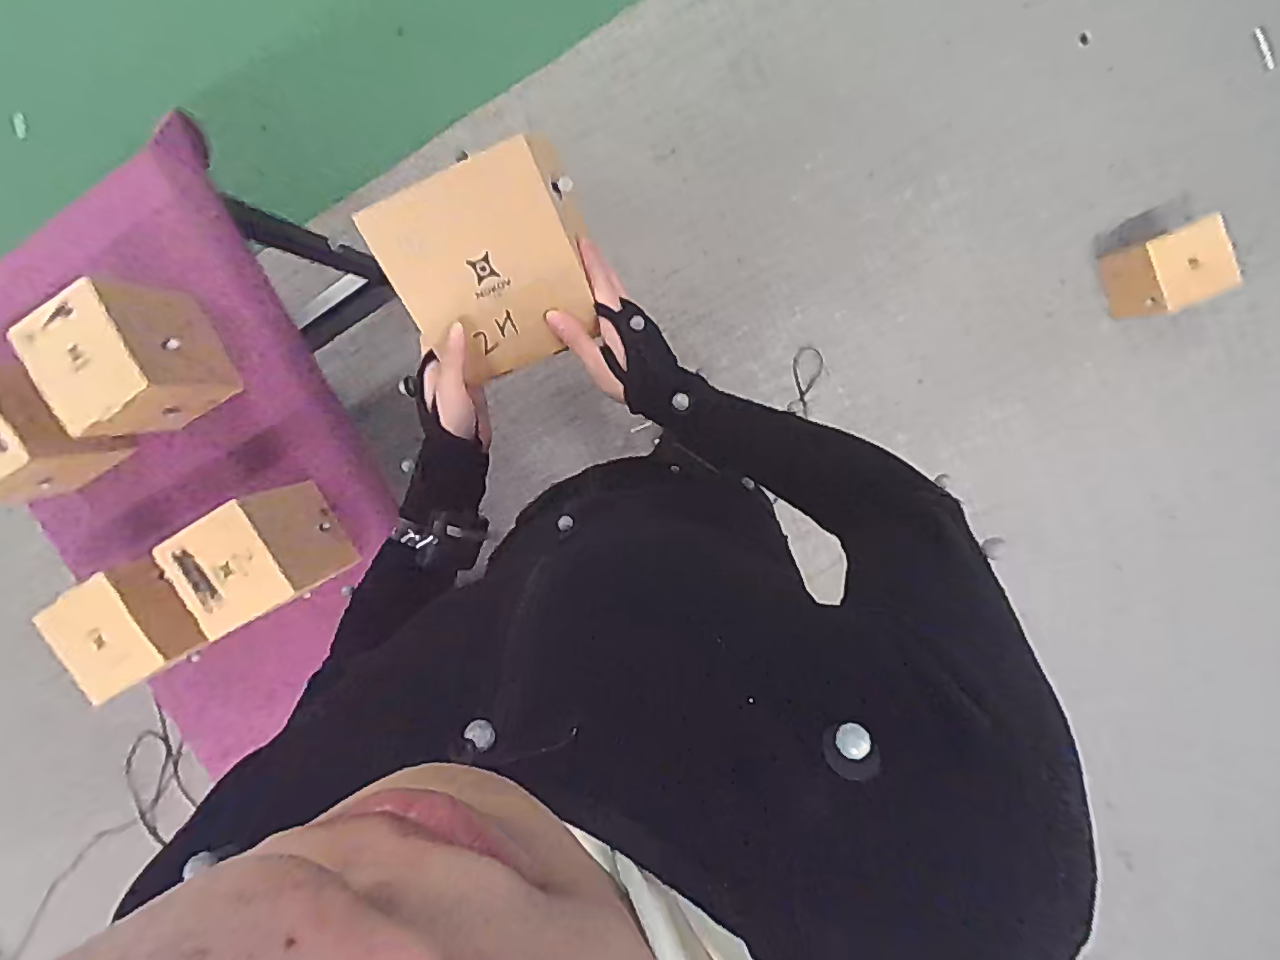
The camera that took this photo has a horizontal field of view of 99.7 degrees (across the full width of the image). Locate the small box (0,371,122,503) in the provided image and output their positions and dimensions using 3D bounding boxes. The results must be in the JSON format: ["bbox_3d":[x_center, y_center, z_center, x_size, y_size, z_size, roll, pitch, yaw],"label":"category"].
[{"bbox_3d":[-1.020,-0.073,0.890,0.179,0.176,0.168,-27,96,10],"label":"small box"}]

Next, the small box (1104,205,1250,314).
[{"bbox_3d":[1.289,-0.524,1.312,0.168,0.176,0.179,-24,97,9],"label":"small box"}]

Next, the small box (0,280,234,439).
[{"bbox_3d":[-0.800,-0.184,0.848,0.168,0.176,0.179,-26,97,10],"label":"small box"}]

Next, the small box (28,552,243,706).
[{"bbox_3d":[-0.847,0.240,0.927,0.168,0.176,0.179,-29,96,10],"label":"small box"}]

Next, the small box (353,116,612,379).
[{"bbox_3d":[-0.134,-0.231,0.538,0.168,0.176,0.179,-17,121,11],"label":"small box"}]
